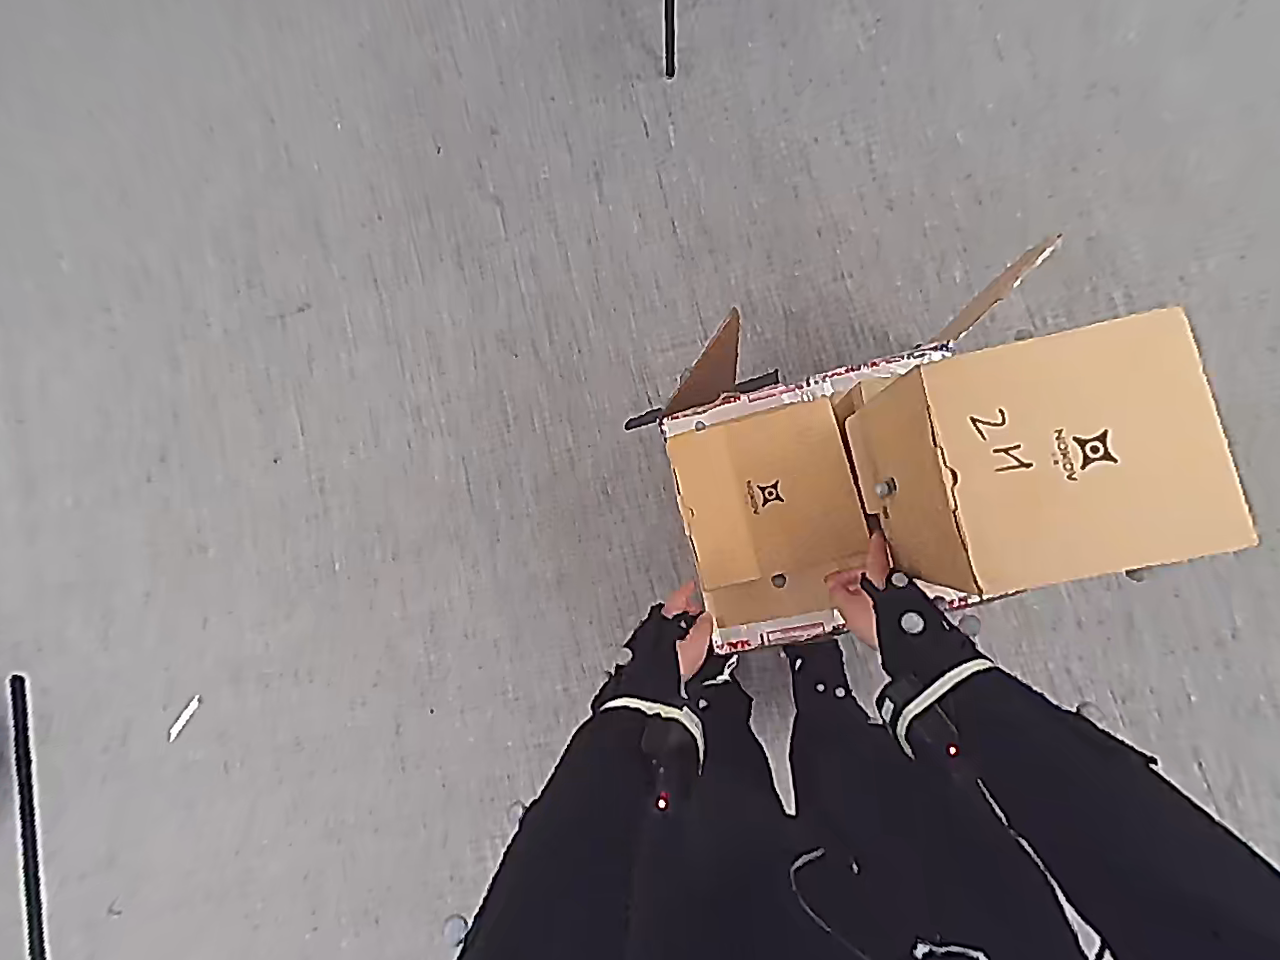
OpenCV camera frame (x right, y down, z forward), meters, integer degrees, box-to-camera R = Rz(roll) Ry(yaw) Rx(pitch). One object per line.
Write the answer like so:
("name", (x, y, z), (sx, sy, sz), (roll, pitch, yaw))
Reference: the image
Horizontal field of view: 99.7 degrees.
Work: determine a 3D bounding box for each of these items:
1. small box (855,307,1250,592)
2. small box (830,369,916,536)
("small box", (0.299, -0.015, 0.439), (0.179, 0.176, 0.168), (-12, 84, 7))
("small box", (0.321, -0.027, 0.604), (0.179, 0.176, 0.168), (-9, 85, 7))
